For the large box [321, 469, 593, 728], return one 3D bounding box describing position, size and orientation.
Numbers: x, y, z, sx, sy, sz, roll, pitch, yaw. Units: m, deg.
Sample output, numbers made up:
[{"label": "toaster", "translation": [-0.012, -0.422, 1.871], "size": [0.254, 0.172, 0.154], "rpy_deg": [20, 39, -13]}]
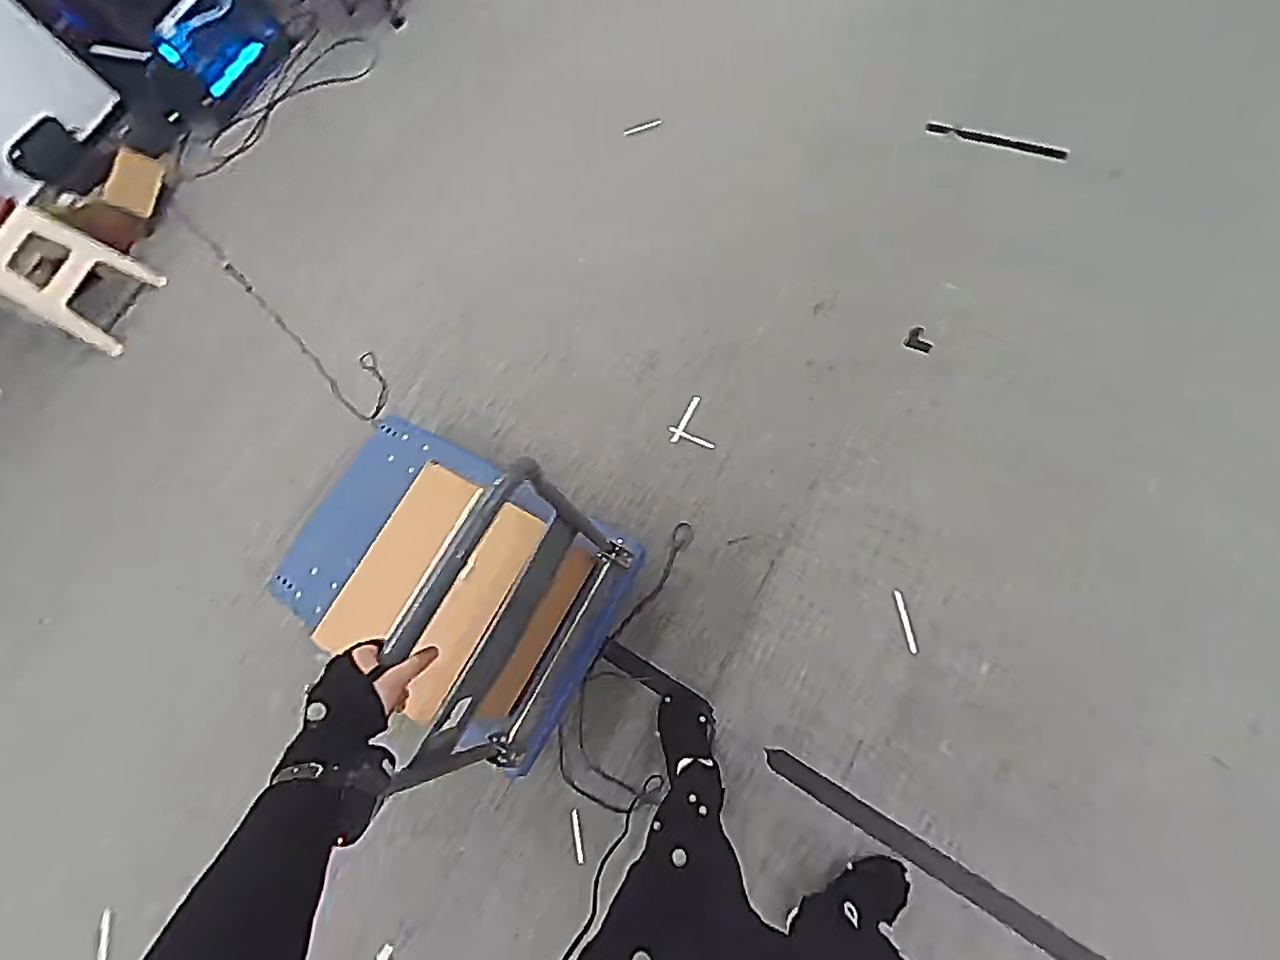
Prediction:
[{"label": "large box", "translation": [-0.359, 0.255, 1.153], "size": [0.320, 0.320, 0.408], "rpy_deg": [25, 77, 20]}]
